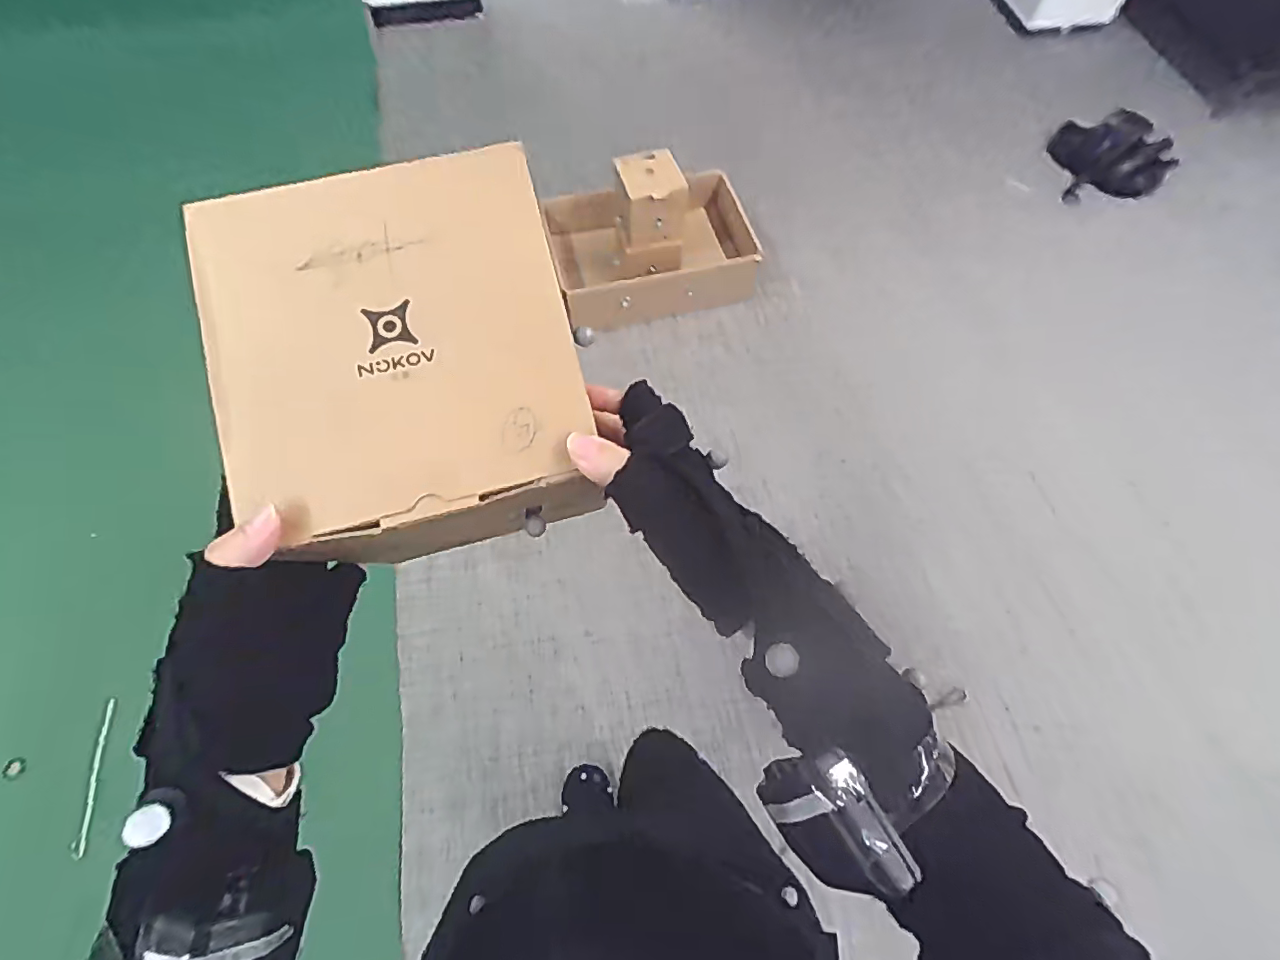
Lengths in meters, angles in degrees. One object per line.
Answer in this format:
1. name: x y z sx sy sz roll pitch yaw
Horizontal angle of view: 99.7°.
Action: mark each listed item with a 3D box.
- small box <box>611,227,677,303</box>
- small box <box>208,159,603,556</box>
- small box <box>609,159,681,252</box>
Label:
1. small box: 0.009 -0.690 1.717 0.179 0.176 0.168 -12 64 -6
2. small box: -0.120 -0.054 0.342 0.168 0.176 0.179 -14 80 -7
3. small box: 0.013 -0.784 1.564 0.168 0.176 0.179 -15 66 -8
